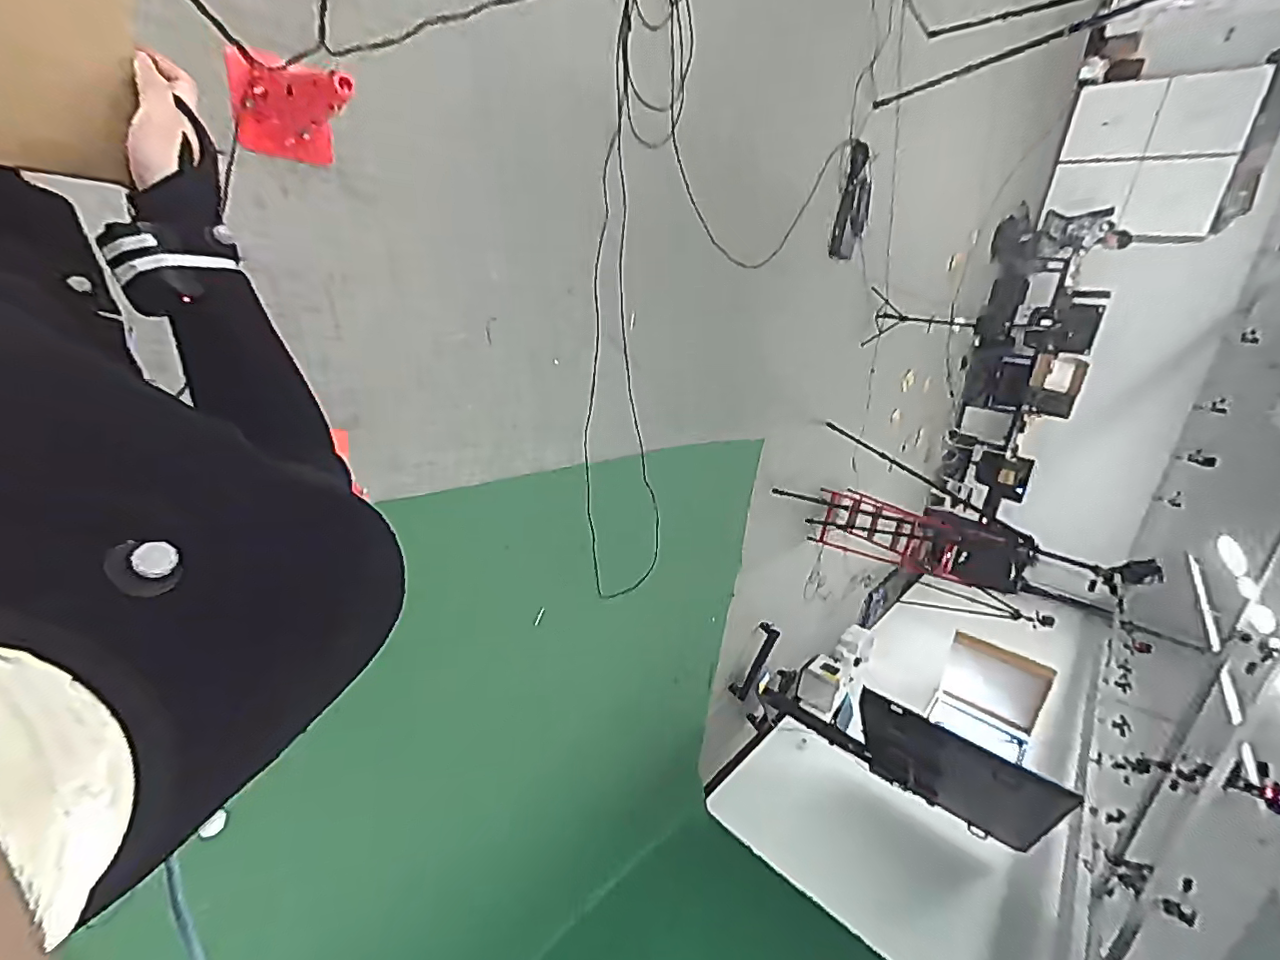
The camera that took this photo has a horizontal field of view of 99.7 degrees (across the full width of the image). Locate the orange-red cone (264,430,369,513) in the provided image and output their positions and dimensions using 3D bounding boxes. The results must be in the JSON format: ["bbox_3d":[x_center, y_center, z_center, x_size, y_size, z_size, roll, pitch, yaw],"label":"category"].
[{"bbox_3d":[-0.806,0.009,1.418,0.199,0.360,0.198,-4,111,-52],"label":"orange-red cone"}]
